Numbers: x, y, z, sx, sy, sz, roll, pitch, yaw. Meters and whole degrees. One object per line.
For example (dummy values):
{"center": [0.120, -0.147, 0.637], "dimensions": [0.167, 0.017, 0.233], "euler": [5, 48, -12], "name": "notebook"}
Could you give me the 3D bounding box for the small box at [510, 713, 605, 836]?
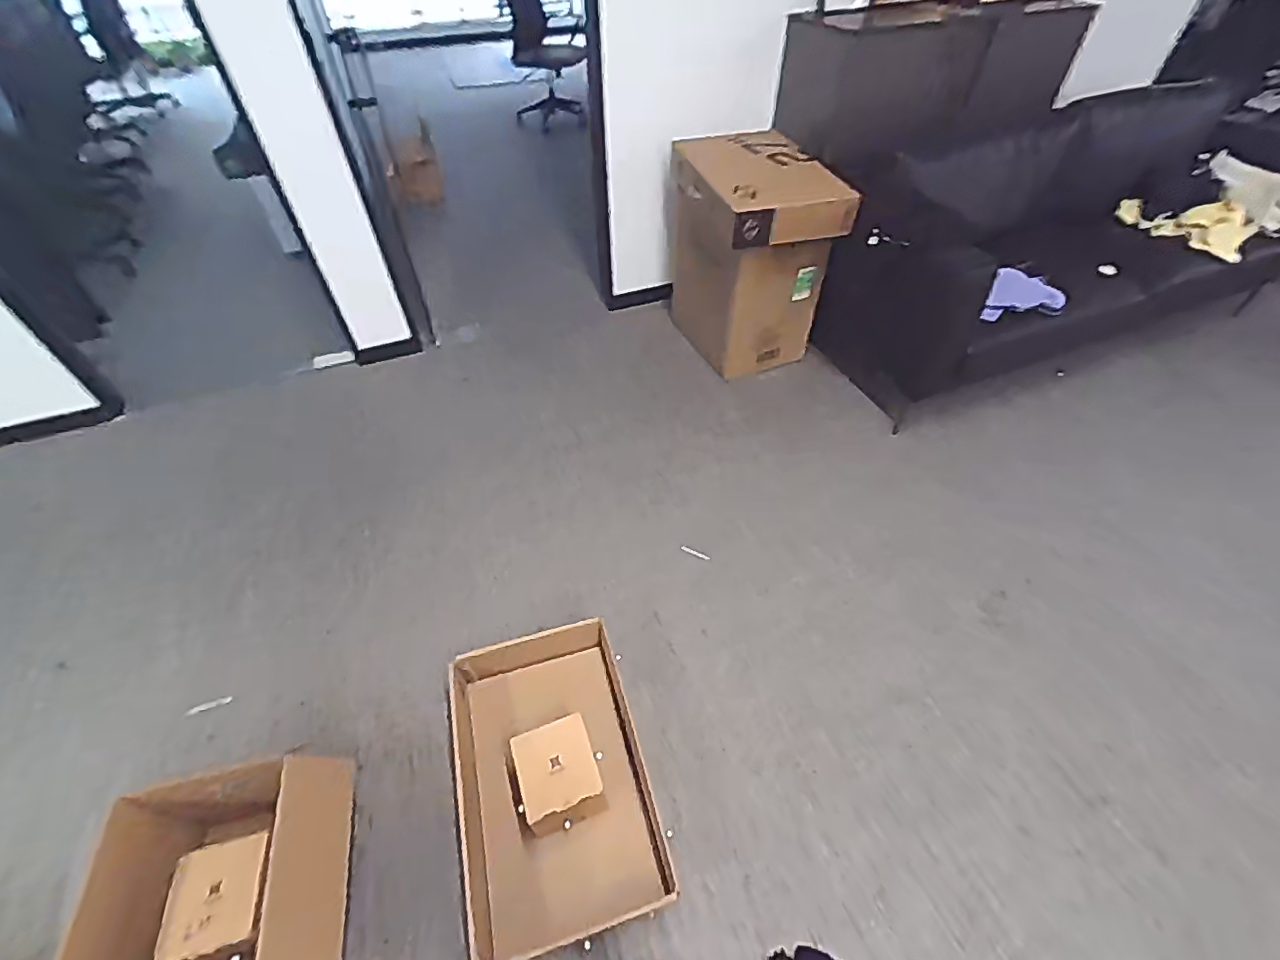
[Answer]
{"center": [-0.184, 0.662, 1.214], "dimensions": [0.168, 0.176, 0.179], "euler": [-16, 50, -15], "name": "small box"}
